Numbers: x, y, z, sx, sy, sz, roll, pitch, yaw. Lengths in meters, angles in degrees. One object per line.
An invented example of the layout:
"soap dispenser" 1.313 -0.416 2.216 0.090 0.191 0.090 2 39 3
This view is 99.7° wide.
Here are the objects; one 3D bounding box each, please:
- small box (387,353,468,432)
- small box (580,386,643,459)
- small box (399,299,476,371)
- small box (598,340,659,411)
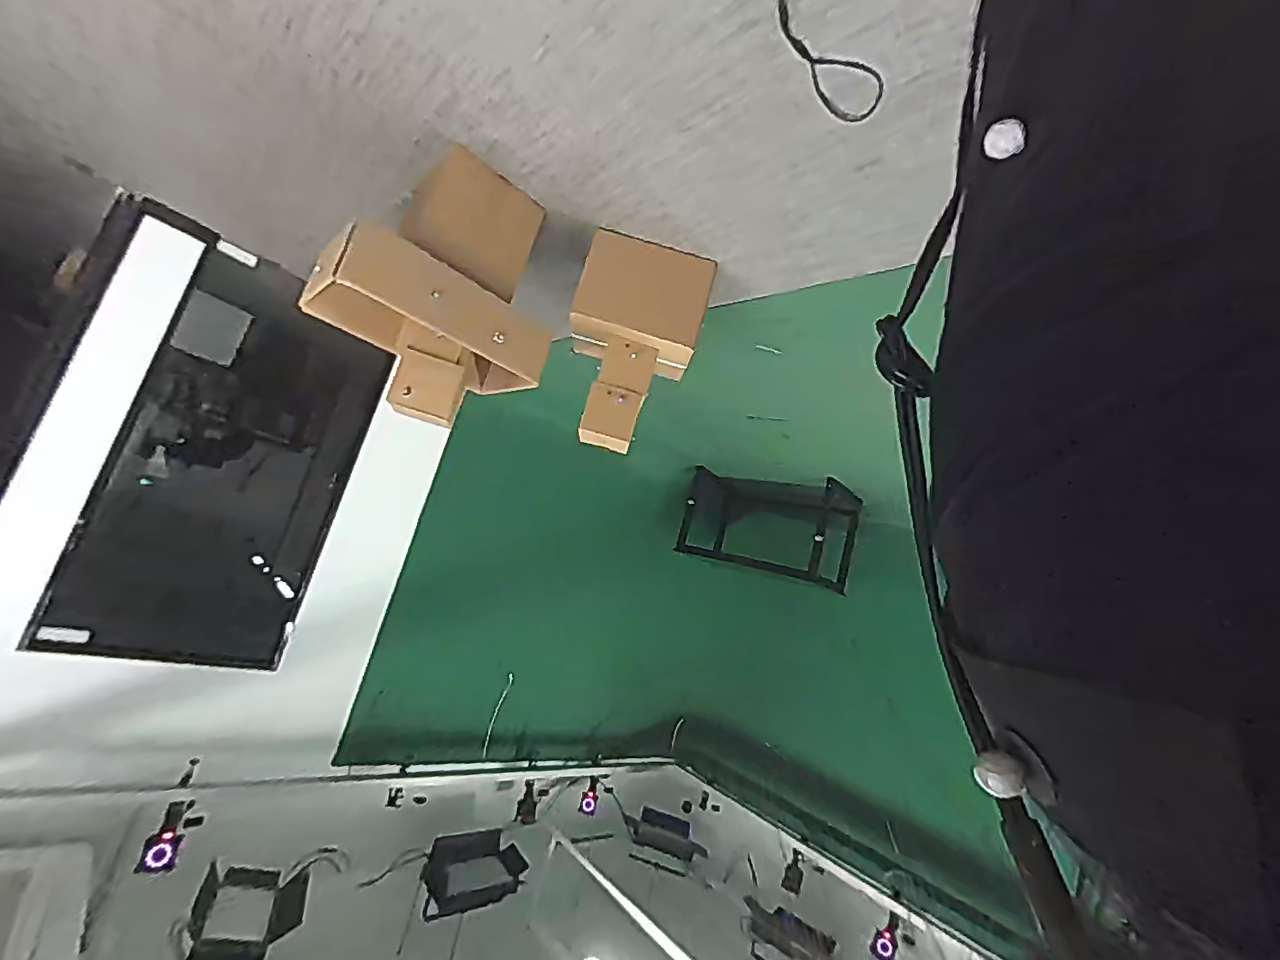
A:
"small box" -0.632 -0.265 1.626 0.179 0.176 0.168 18 170 -13
"small box" -0.094 -0.186 1.764 0.168 0.176 0.179 17 169 -2
"small box" -0.611 -0.427 1.658 0.179 0.176 0.168 18 168 -11
"small box" -0.044 -0.337 1.801 0.168 0.176 0.179 18 169 -5
